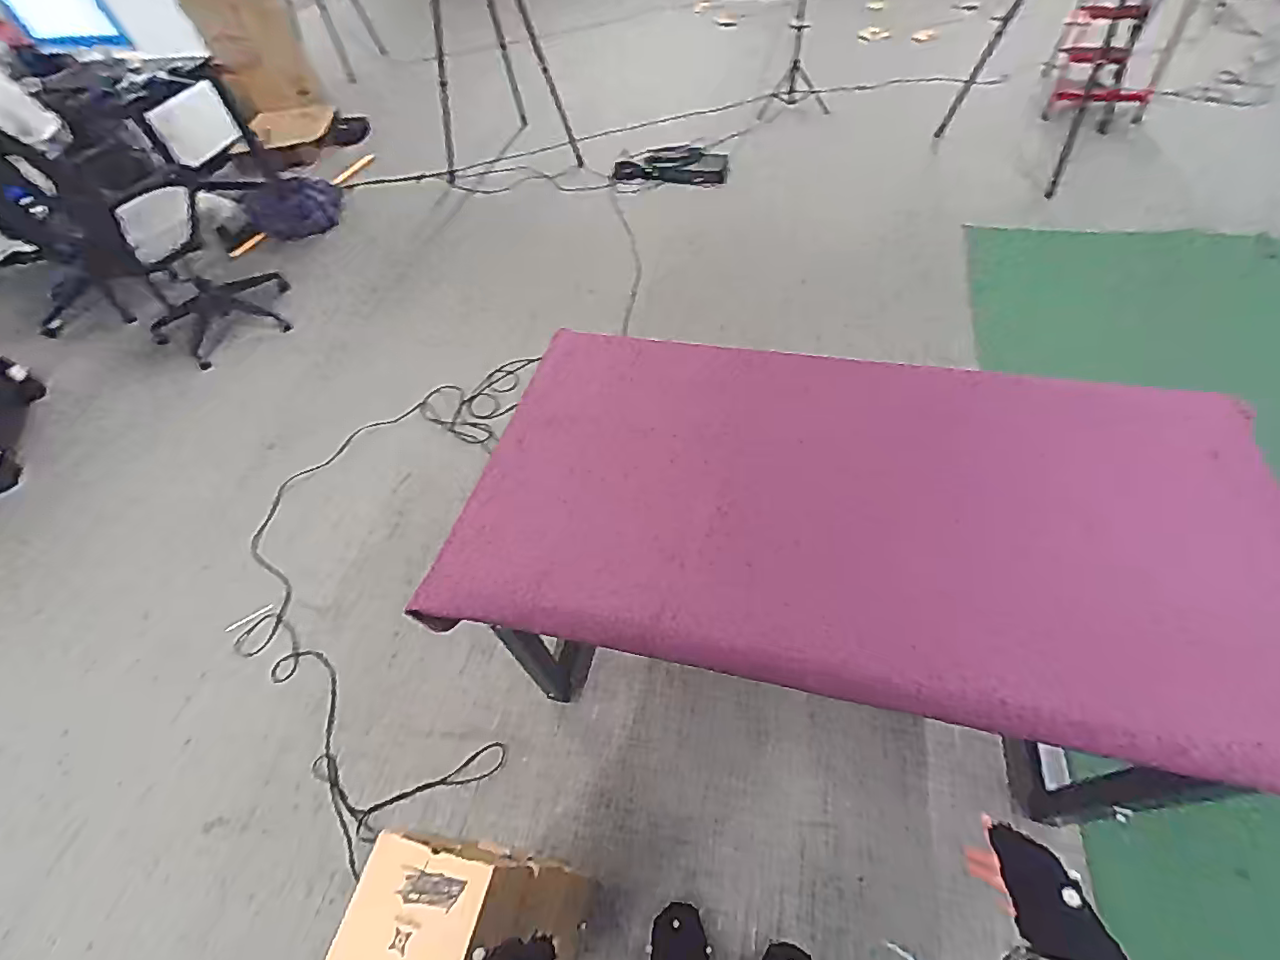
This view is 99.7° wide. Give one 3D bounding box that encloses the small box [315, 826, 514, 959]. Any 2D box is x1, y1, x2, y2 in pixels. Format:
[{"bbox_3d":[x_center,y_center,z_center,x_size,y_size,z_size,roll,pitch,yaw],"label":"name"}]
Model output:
[{"bbox_3d":[-0.281,0.579,0.709,0.168,0.176,0.179,10,58,13],"label":"small box"}]
